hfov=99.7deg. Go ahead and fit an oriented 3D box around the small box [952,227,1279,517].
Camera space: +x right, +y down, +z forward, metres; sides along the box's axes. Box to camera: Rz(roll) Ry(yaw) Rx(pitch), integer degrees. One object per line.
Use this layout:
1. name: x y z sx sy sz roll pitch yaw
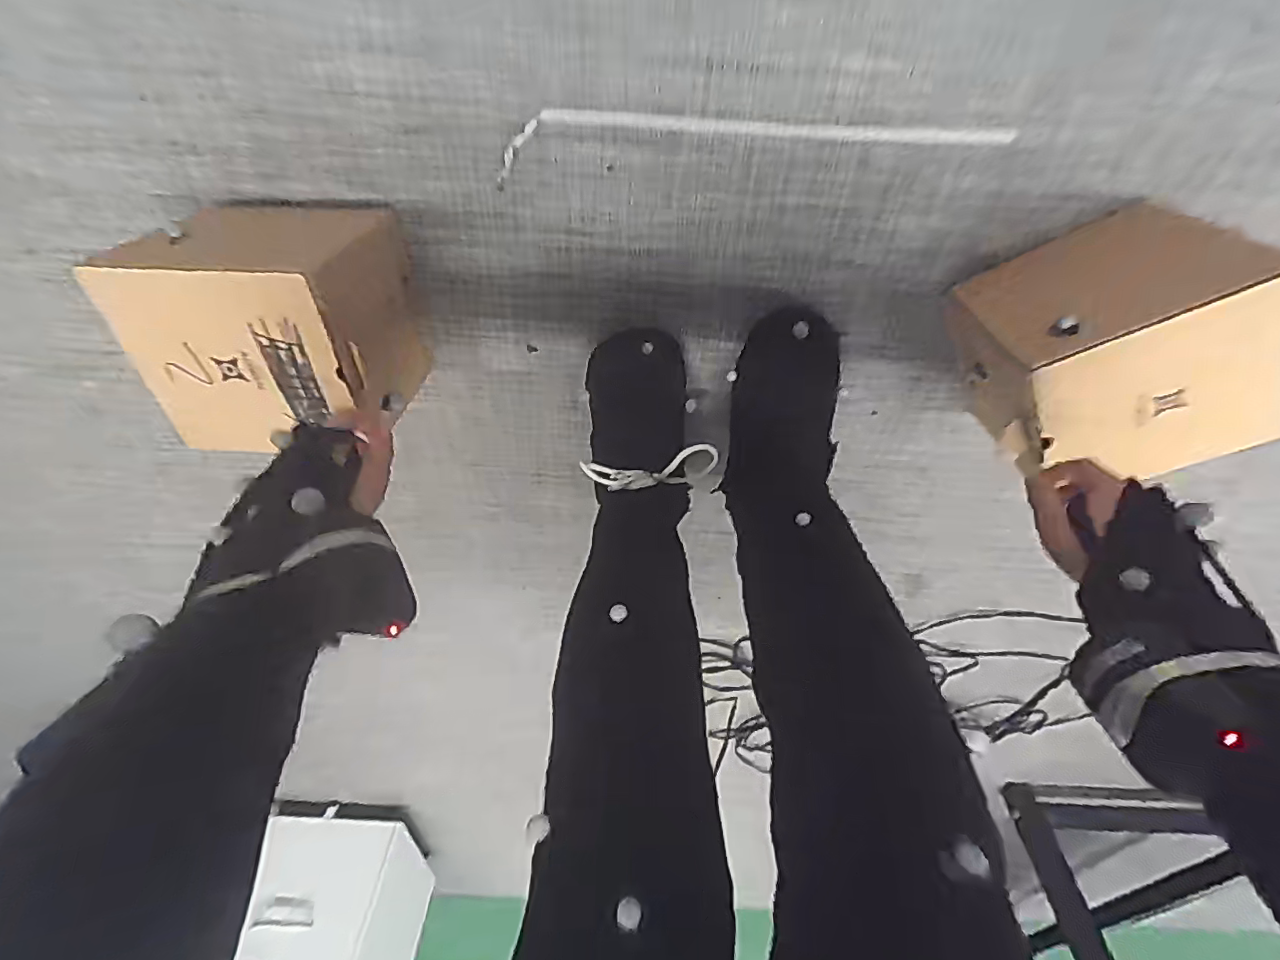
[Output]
1. small box: 0.426 -0.101 0.500 0.179 0.176 0.168 -23 125 20
